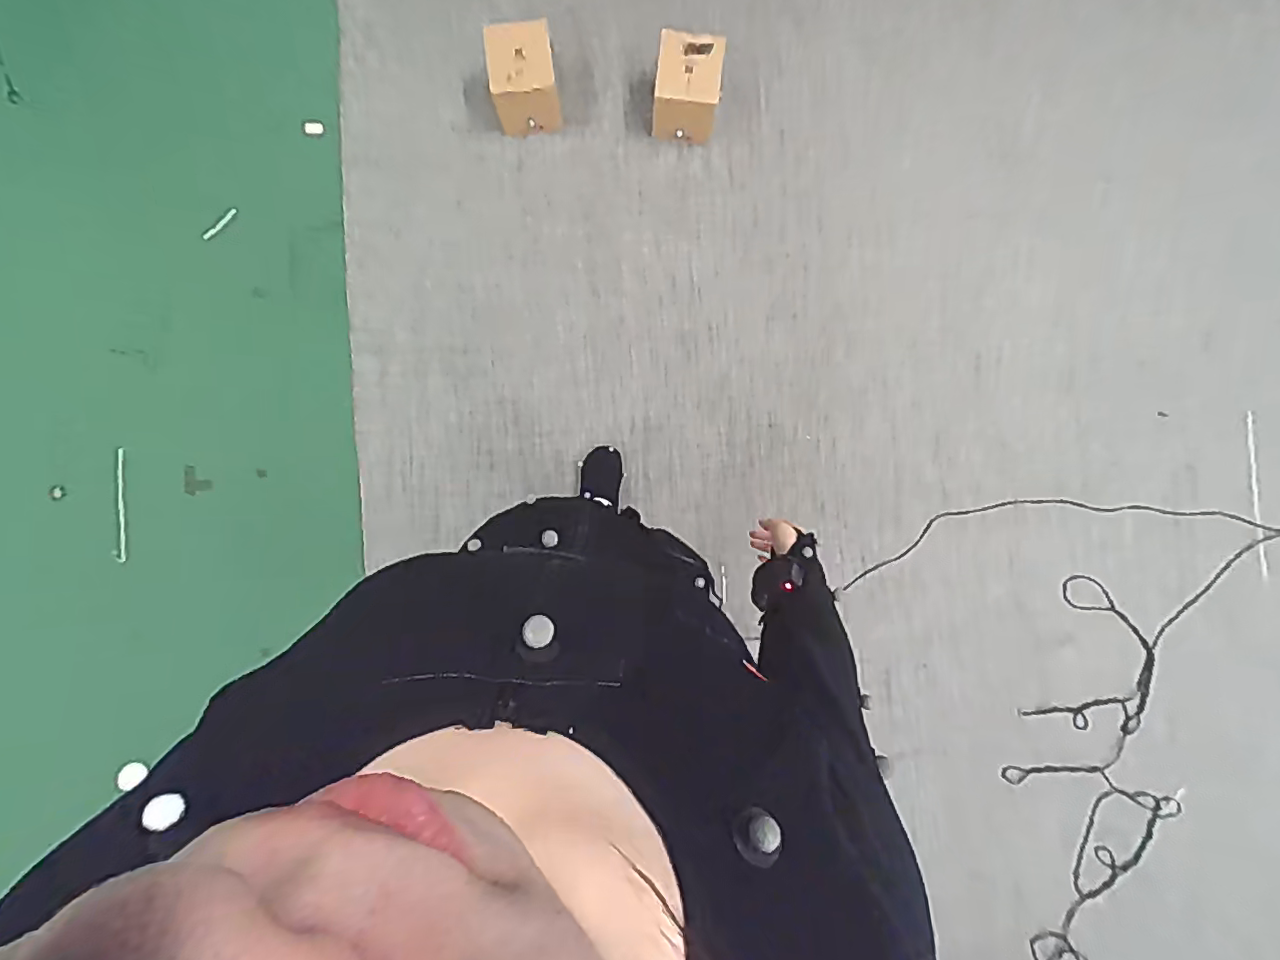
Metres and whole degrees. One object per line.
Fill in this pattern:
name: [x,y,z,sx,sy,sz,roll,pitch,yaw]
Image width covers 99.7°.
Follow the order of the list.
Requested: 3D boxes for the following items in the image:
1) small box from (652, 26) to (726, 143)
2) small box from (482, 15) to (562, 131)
small box: [0.123,-1.035,1.425,0.168,0.176,0.179,7,90,-1]
small box: [-0.304,-1.059,1.417,0.168,0.176,0.179,-7,89,-1]
